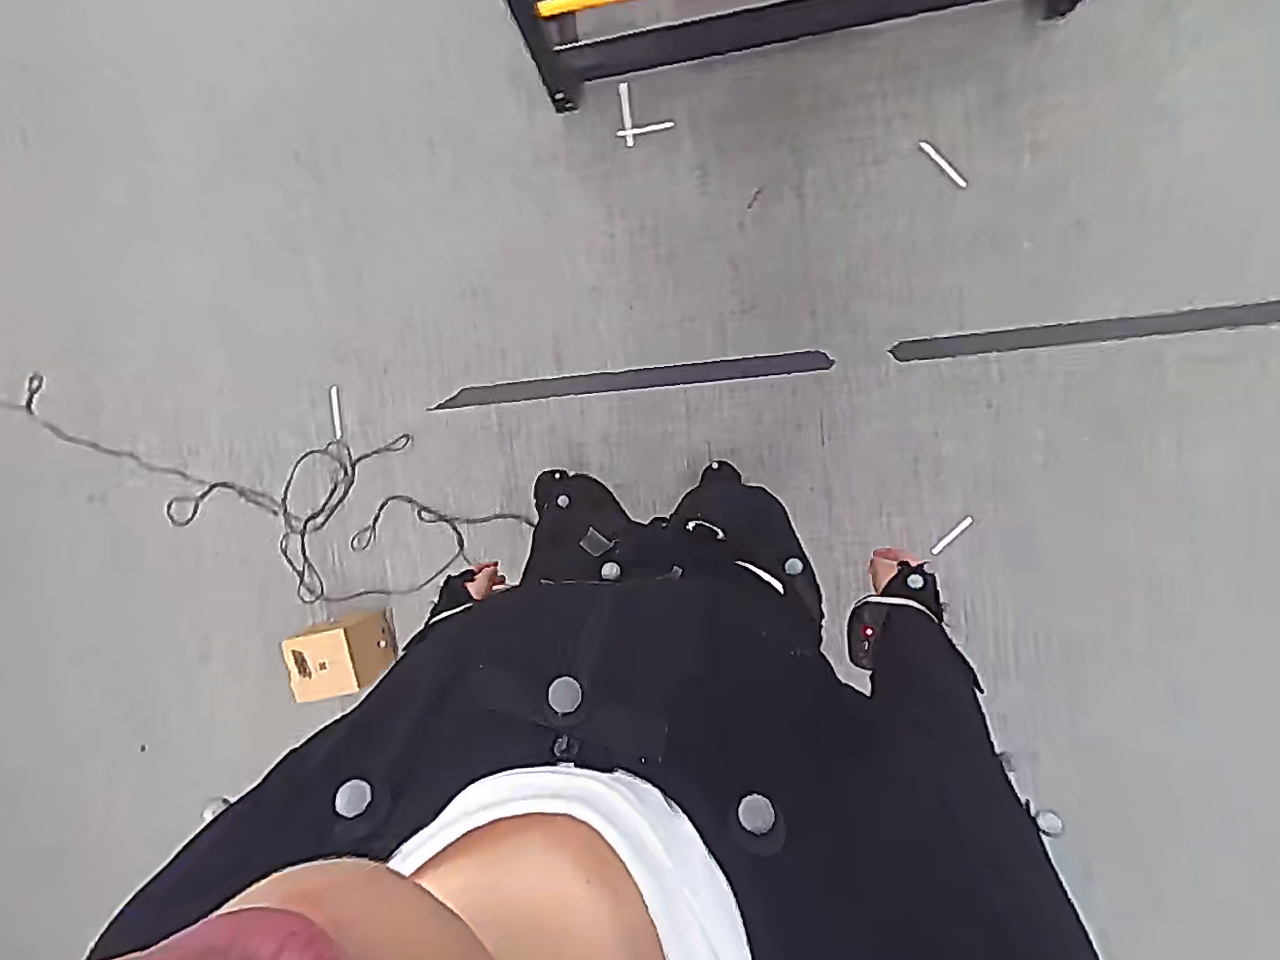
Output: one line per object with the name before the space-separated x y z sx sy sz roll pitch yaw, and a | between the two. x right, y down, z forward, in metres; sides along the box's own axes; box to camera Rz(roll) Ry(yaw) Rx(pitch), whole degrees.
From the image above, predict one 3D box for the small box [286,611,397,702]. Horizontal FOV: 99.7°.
small box | -0.778 0.458 1.422 0.179 0.176 0.168 -13 93 7
